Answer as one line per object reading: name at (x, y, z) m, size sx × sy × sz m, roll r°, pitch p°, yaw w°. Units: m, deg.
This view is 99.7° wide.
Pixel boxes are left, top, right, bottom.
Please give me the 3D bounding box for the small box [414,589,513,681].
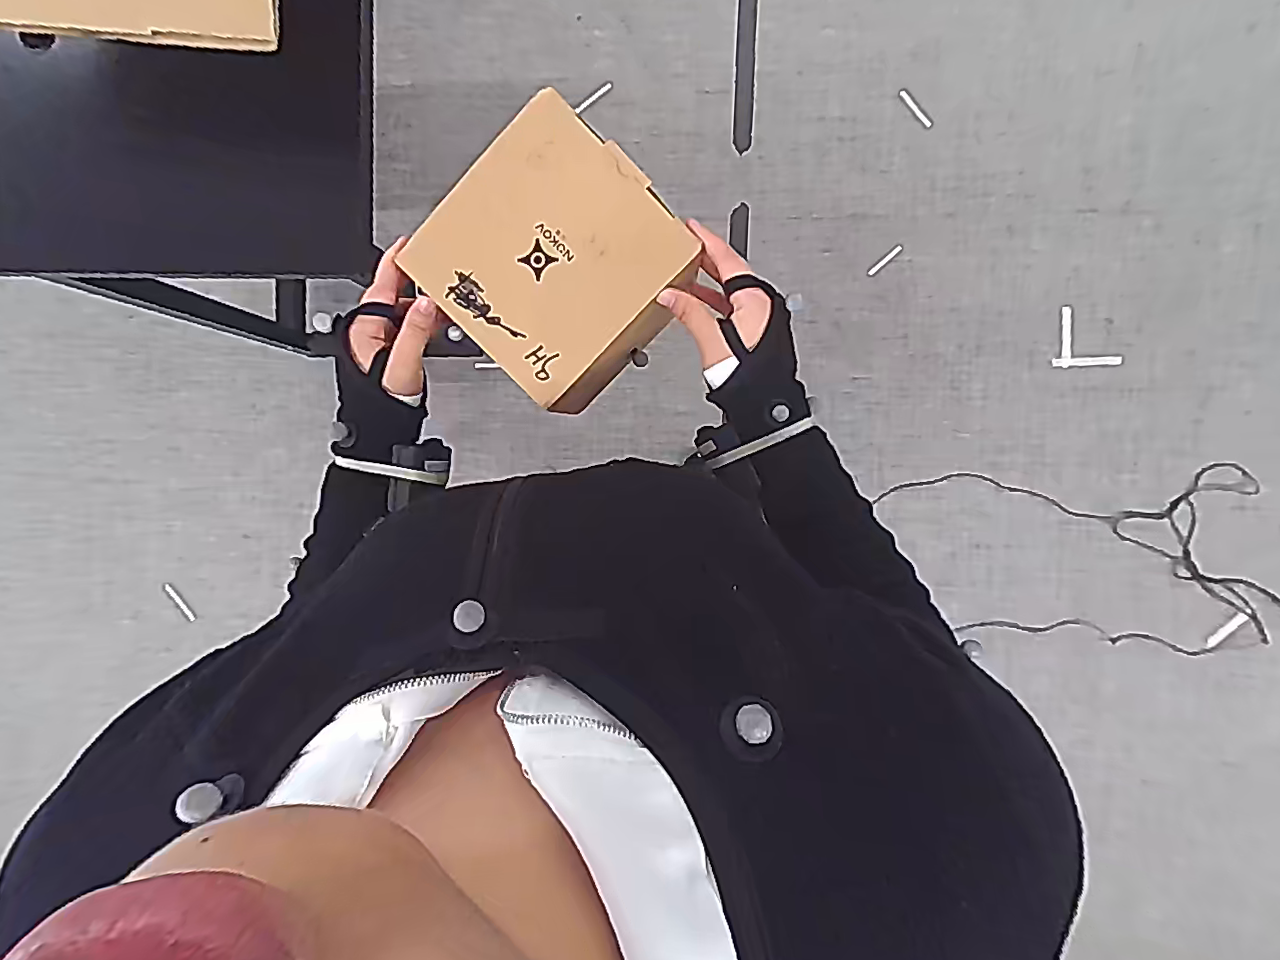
small box at (-0.411, 0.363, 1.292) m, size 0.179 × 0.176 × 0.168 m, roll -6°, pitch 90°, yaw 5°
